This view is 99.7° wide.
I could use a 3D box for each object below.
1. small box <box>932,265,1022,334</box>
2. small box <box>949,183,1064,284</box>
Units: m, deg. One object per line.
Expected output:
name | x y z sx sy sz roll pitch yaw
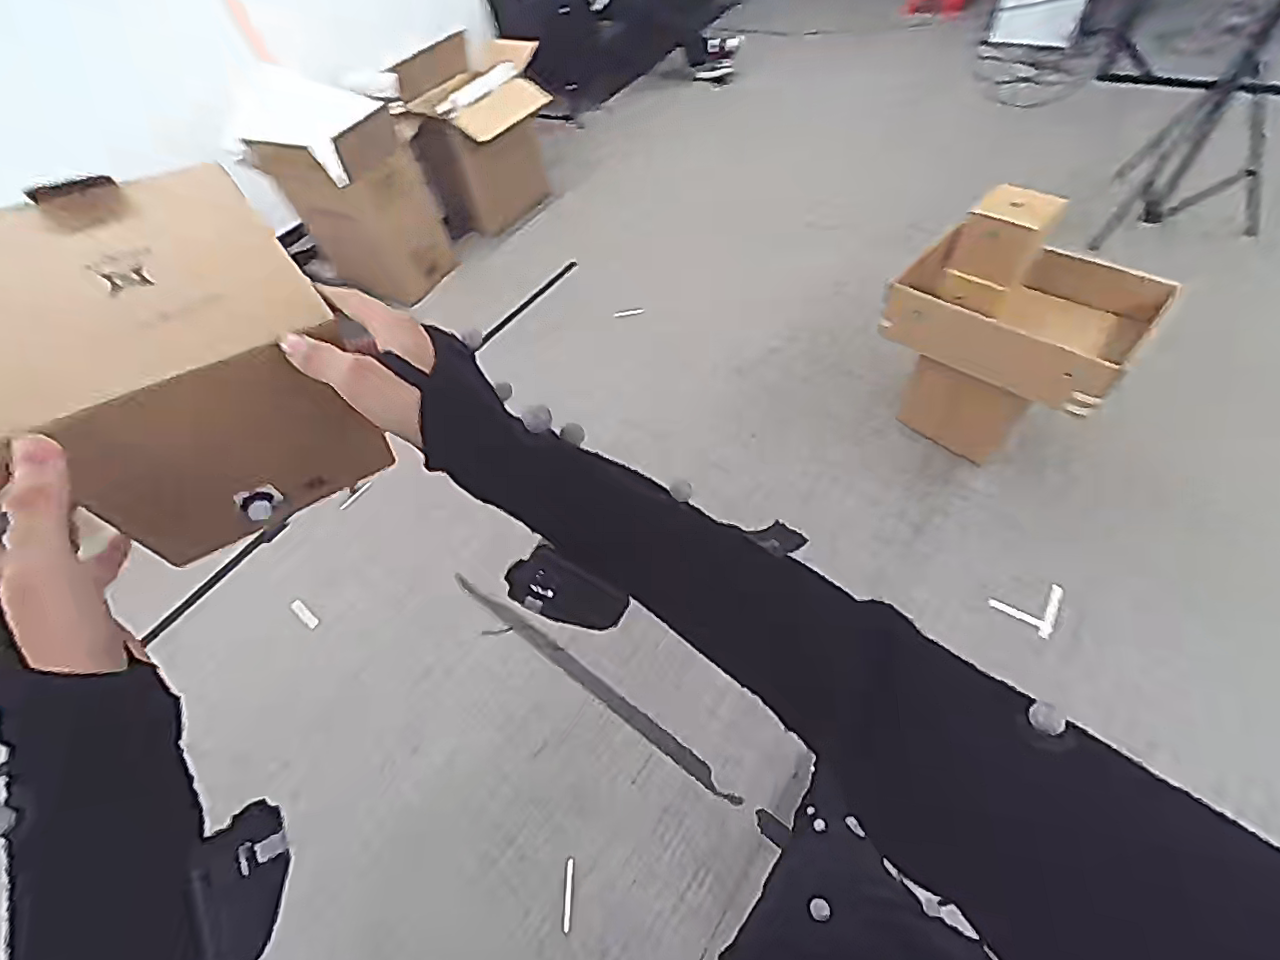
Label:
small box | 0.982 -0.557 1.577 0.168 0.176 0.179 36 67 29
small box | 0.967 -0.655 1.445 0.168 0.176 0.179 -42 58 -19
